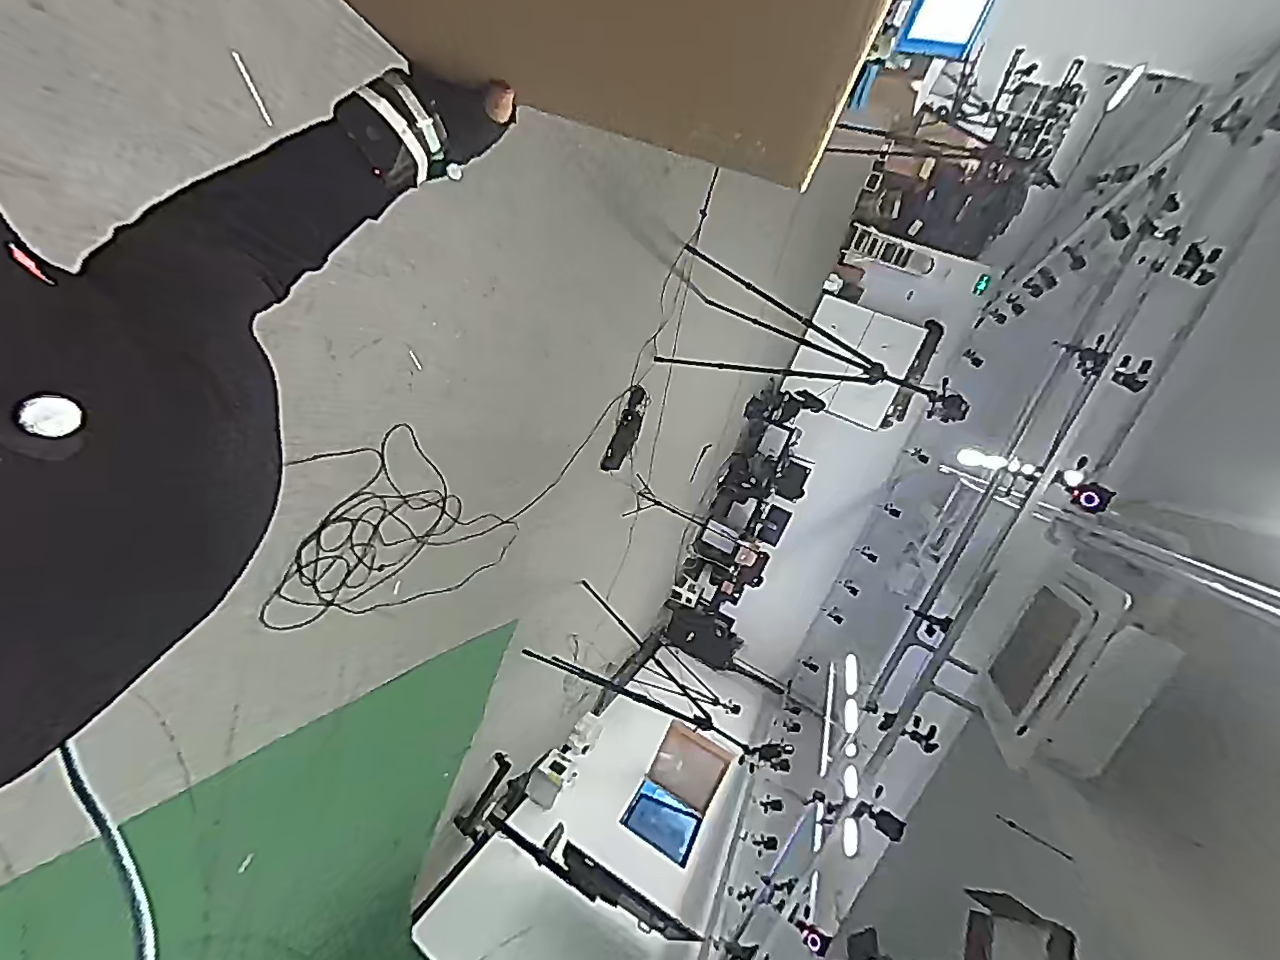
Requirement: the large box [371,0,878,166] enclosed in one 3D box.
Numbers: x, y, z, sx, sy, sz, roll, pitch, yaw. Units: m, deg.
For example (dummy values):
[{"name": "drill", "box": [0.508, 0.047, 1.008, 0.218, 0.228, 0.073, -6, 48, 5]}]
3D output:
[{"name": "large box", "box": [-0.008, -0.372, 0.185, 0.408, 0.320, 0.320, -60, 169, -75]}]
